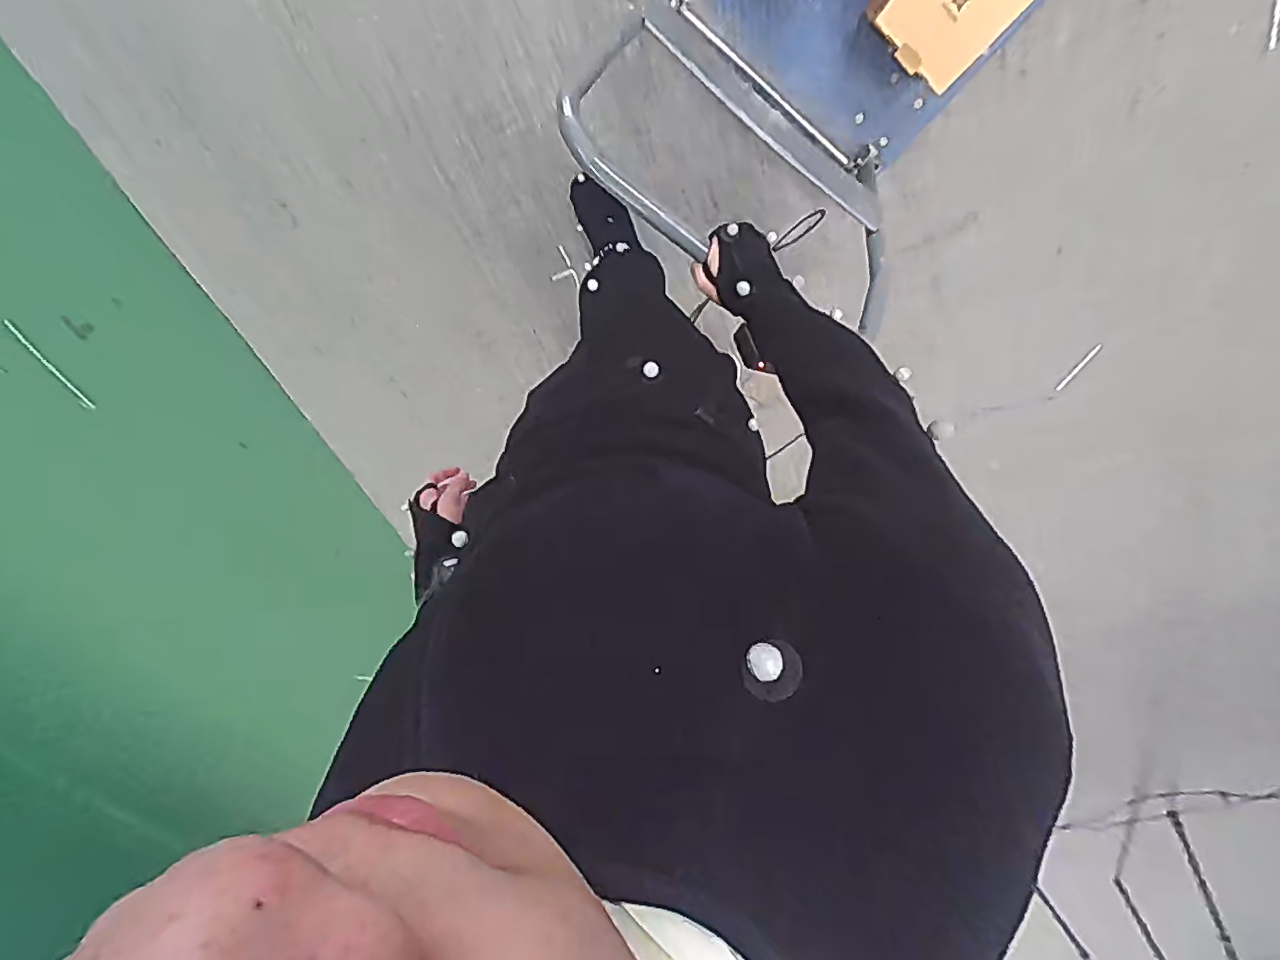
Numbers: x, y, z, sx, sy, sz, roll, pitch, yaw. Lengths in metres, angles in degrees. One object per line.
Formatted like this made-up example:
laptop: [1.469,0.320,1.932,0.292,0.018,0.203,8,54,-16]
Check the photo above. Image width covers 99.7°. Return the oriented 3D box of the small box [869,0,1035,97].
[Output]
small box: [0.494,-0.774,0.868,0.168,0.176,0.179,33,135,-18]
